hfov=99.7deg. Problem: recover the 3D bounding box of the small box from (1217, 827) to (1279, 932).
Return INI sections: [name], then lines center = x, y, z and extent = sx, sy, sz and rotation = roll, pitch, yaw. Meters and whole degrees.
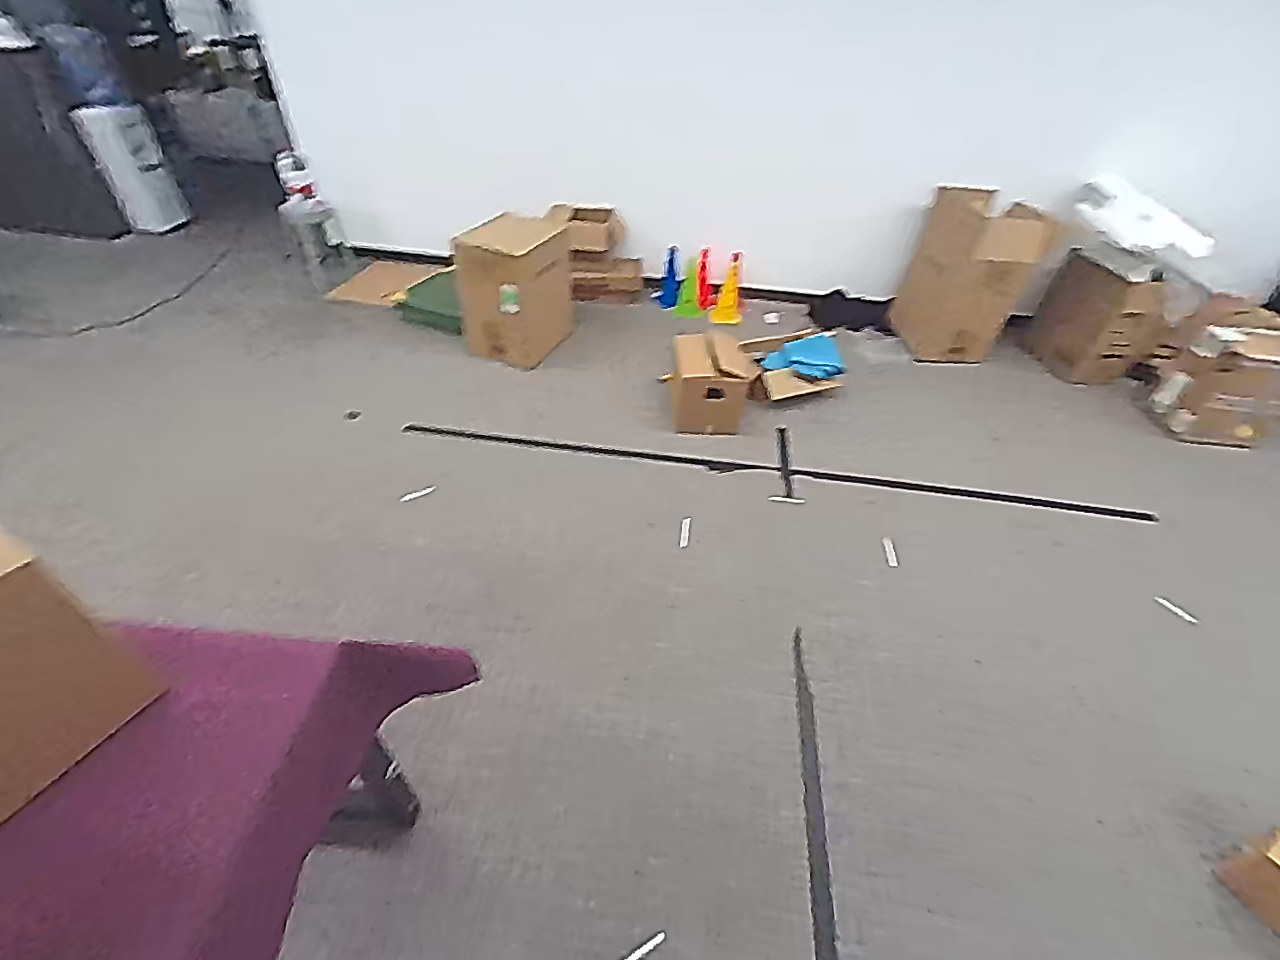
[small box]
center = 1.544, 0.949, 1.267
extent = 0.168, 0.176, 0.179
rotation = -17, 44, -25
